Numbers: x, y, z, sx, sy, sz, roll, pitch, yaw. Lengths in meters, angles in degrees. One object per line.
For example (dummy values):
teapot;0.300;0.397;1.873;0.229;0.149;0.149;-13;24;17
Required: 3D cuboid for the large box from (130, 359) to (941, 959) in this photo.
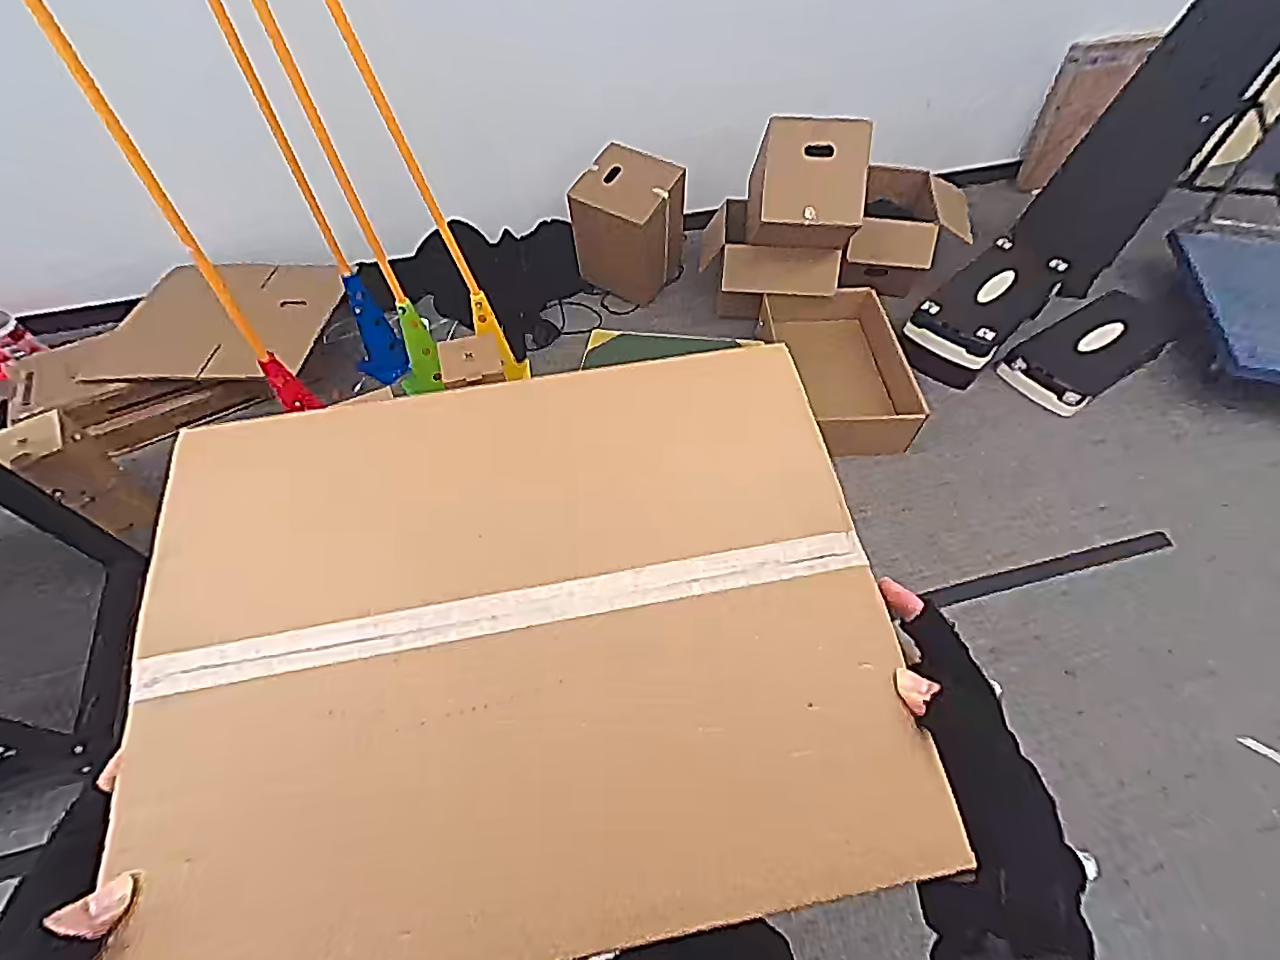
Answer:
large box;-0.068;0.143;0.454;0.408;0.320;0.320;-10;66;-4
